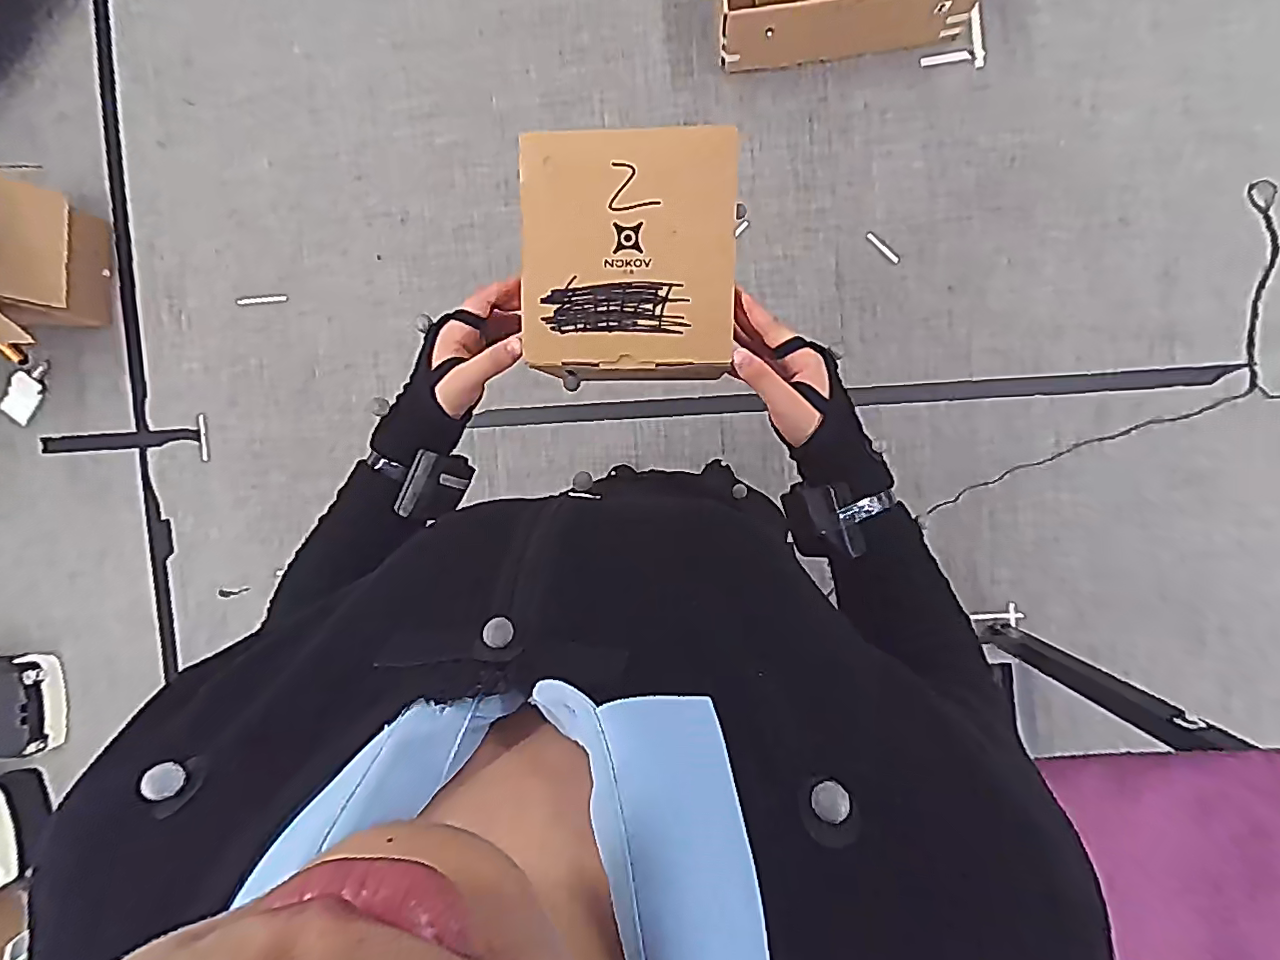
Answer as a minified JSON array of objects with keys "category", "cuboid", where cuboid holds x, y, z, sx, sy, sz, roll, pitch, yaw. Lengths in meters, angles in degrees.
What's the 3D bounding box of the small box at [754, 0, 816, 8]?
[{"category":"small box","cuboid":[0.361,-1.288,1.300,0.168,0.176,0.179,-7,92,3]}]
